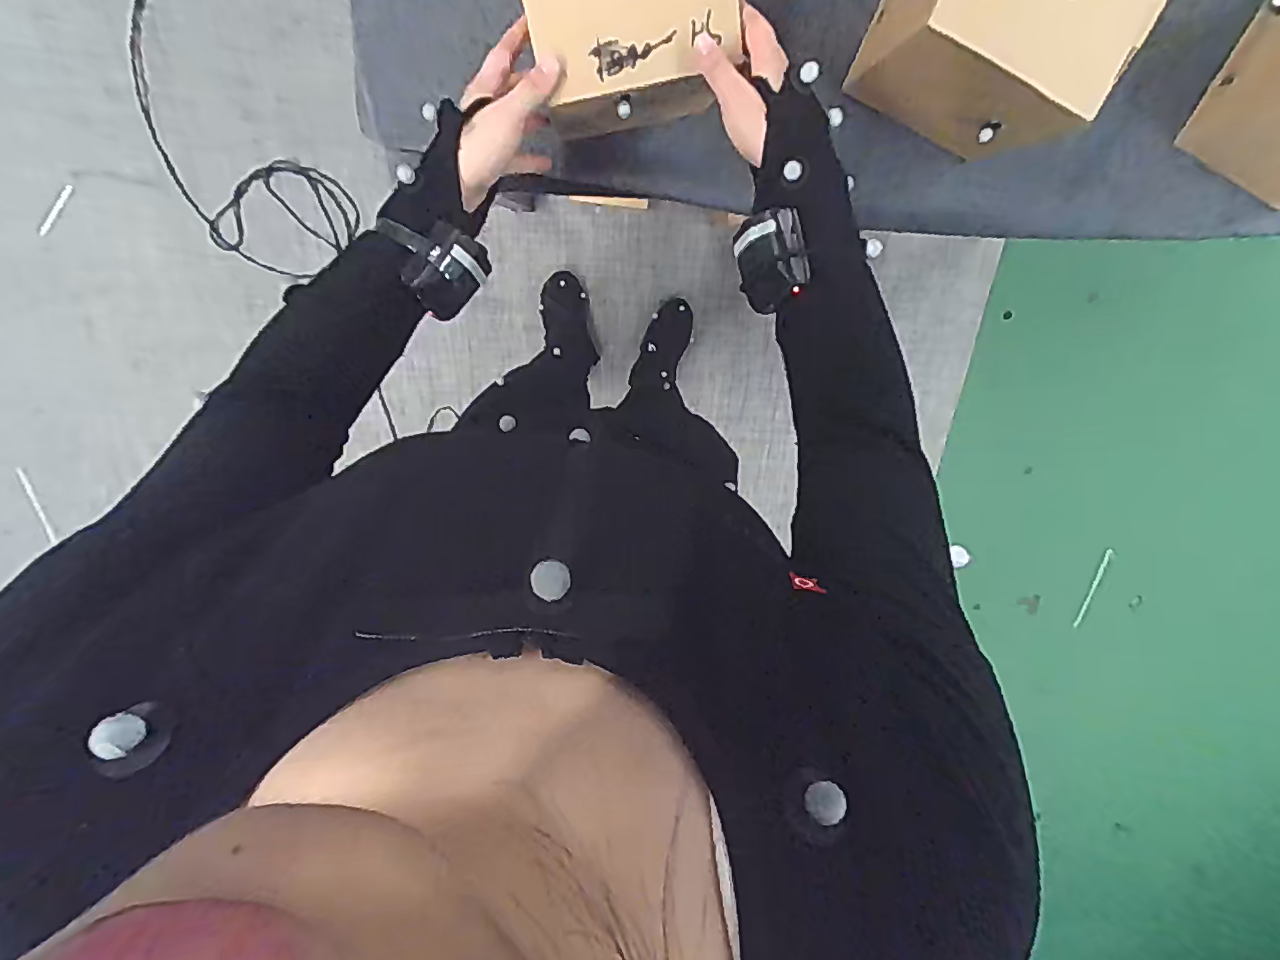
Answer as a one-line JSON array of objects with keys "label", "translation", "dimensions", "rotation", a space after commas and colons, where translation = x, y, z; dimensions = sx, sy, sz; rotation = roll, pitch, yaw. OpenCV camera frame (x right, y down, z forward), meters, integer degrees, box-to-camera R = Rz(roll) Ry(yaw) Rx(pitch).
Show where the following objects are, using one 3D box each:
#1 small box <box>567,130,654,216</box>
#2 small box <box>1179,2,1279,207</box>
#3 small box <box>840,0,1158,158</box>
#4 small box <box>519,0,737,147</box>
[{"label": "small box", "translation": [-0.064, -0.674, 1.163], "dimensions": [0.168, 0.176, 0.179], "rotation": [4, 112, -5]}, {"label": "small box", "translation": [0.719, -0.392, 0.536], "dimensions": [0.179, 0.176, 0.168], "rotation": [20, 108, -11]}, {"label": "small box", "translation": [0.325, -0.425, 0.500], "dimensions": [0.179, 0.176, 0.168], "rotation": [19, 107, -11]}, {"label": "small box", "translation": [-0.021, -0.421, 0.478], "dimensions": [0.168, 0.176, 0.179], "rotation": [-11, 115, 1]}]
